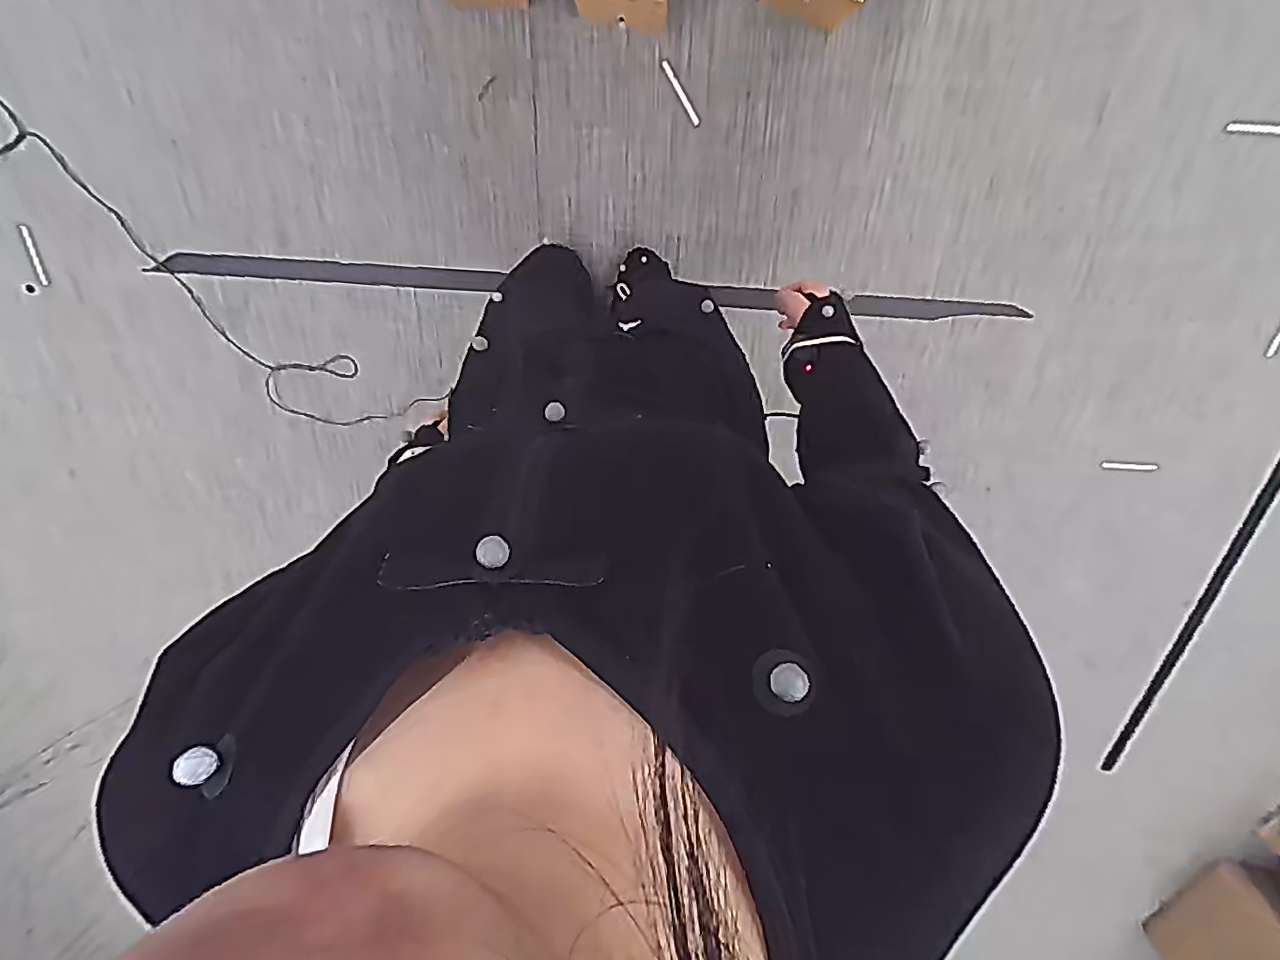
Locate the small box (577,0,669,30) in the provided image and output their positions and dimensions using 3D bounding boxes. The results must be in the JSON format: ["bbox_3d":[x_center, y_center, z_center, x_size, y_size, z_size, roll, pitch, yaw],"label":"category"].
[{"bbox_3d":[-0.025,-0.985,1.021,0.179,0.176,0.168,7,115,-2],"label":"small box"}]

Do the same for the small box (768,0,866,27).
[{"bbox_3d":[0.355,-0.990,1.009,0.179,0.176,0.168,19,115,-6],"label":"small box"}]
